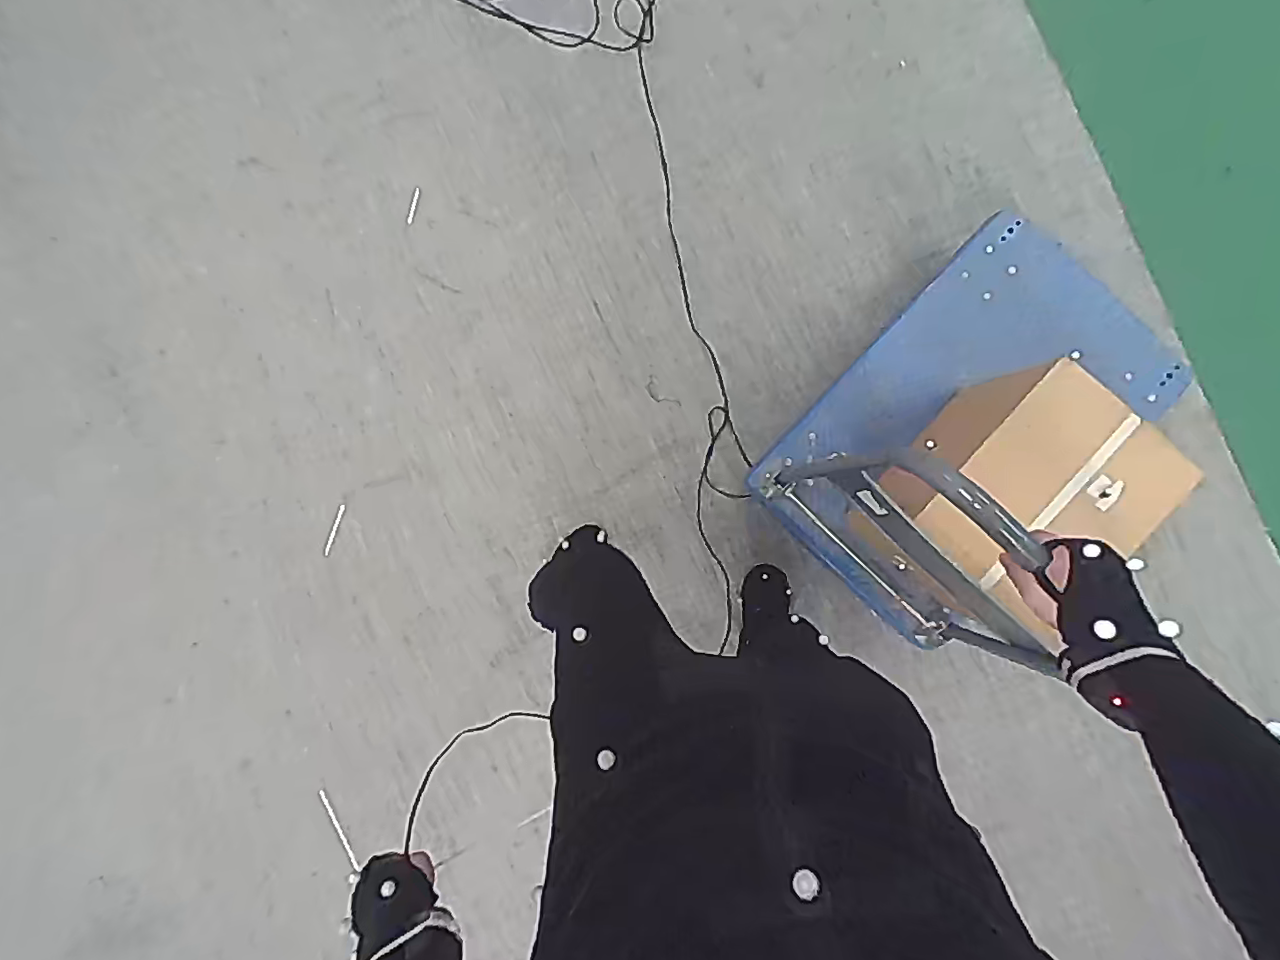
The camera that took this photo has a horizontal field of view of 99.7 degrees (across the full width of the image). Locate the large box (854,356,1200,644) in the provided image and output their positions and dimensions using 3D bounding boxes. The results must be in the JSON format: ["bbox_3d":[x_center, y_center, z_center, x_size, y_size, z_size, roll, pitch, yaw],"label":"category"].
[{"bbox_3d":[0.715,0.039,1.071,0.320,0.320,0.408,42,90,1],"label":"large box"}]
